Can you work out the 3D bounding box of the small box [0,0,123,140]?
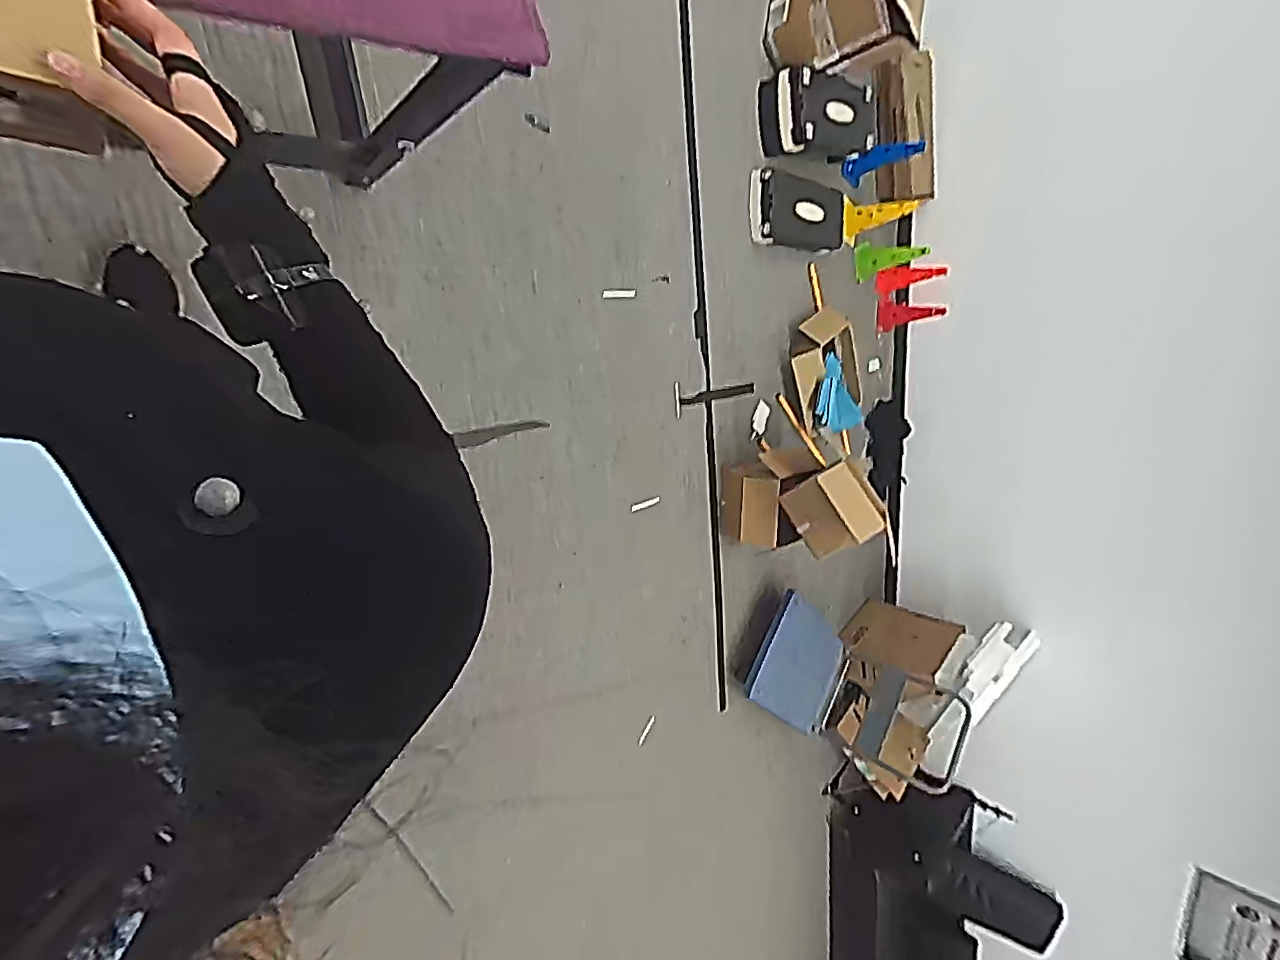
[{"bbox_3d":[-0.442,-0.328,0.320,0.179,0.176,0.168,-10,108,-42],"label":"small box"}]
